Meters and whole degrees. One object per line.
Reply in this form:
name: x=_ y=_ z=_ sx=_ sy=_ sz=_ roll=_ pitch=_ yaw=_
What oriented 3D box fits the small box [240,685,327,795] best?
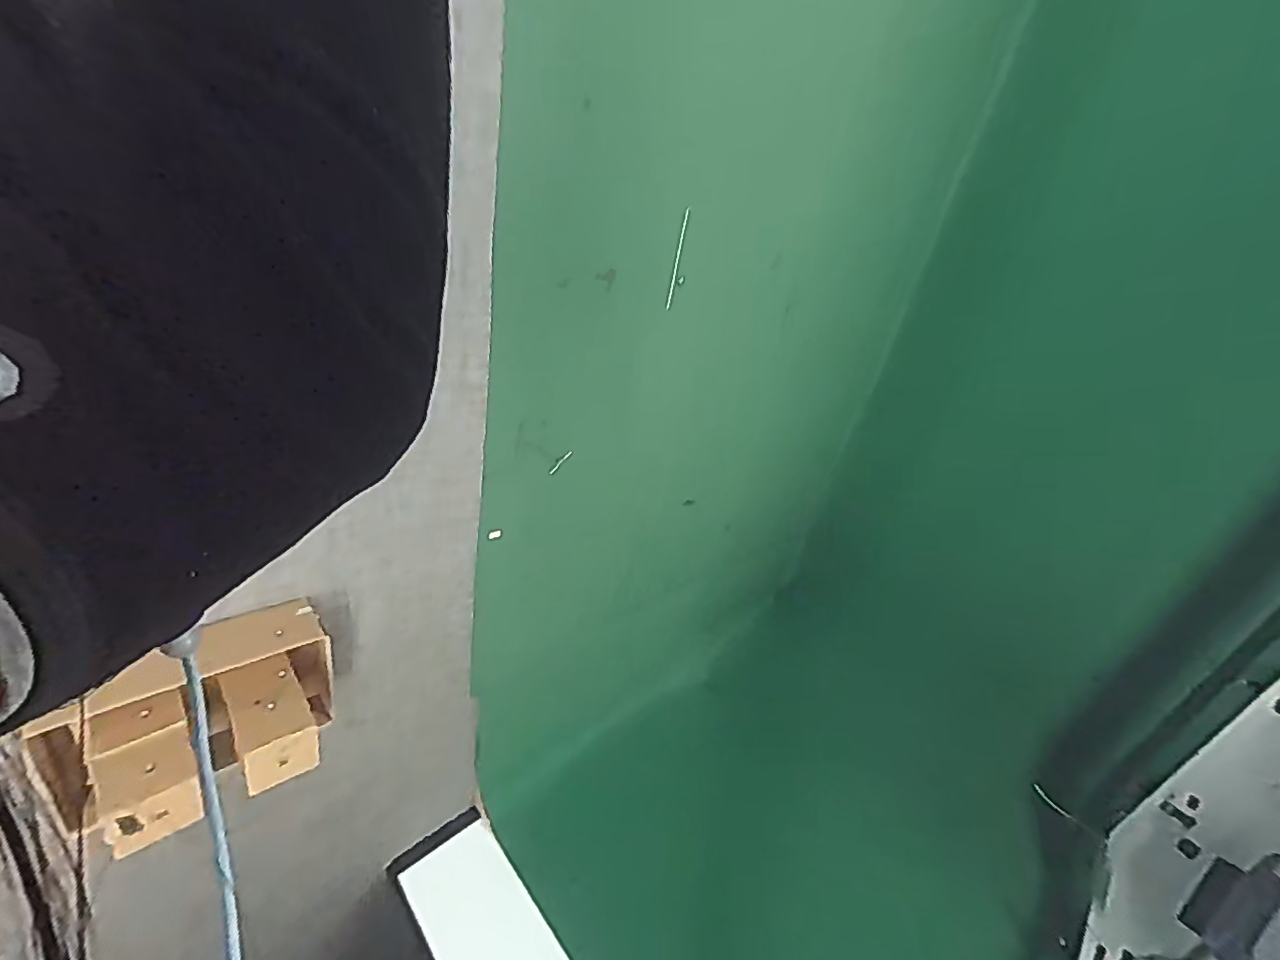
small box: x=-0.976 y=0.703 z=1.481 sx=0.168 sy=0.176 sz=0.179 roll=-13 pitch=126 yaw=-43

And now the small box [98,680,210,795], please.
small box: x=-1.261 y=0.659 z=1.406 sx=0.179 sy=0.176 sz=0.168 roll=-18 pitch=129 yaw=-42
